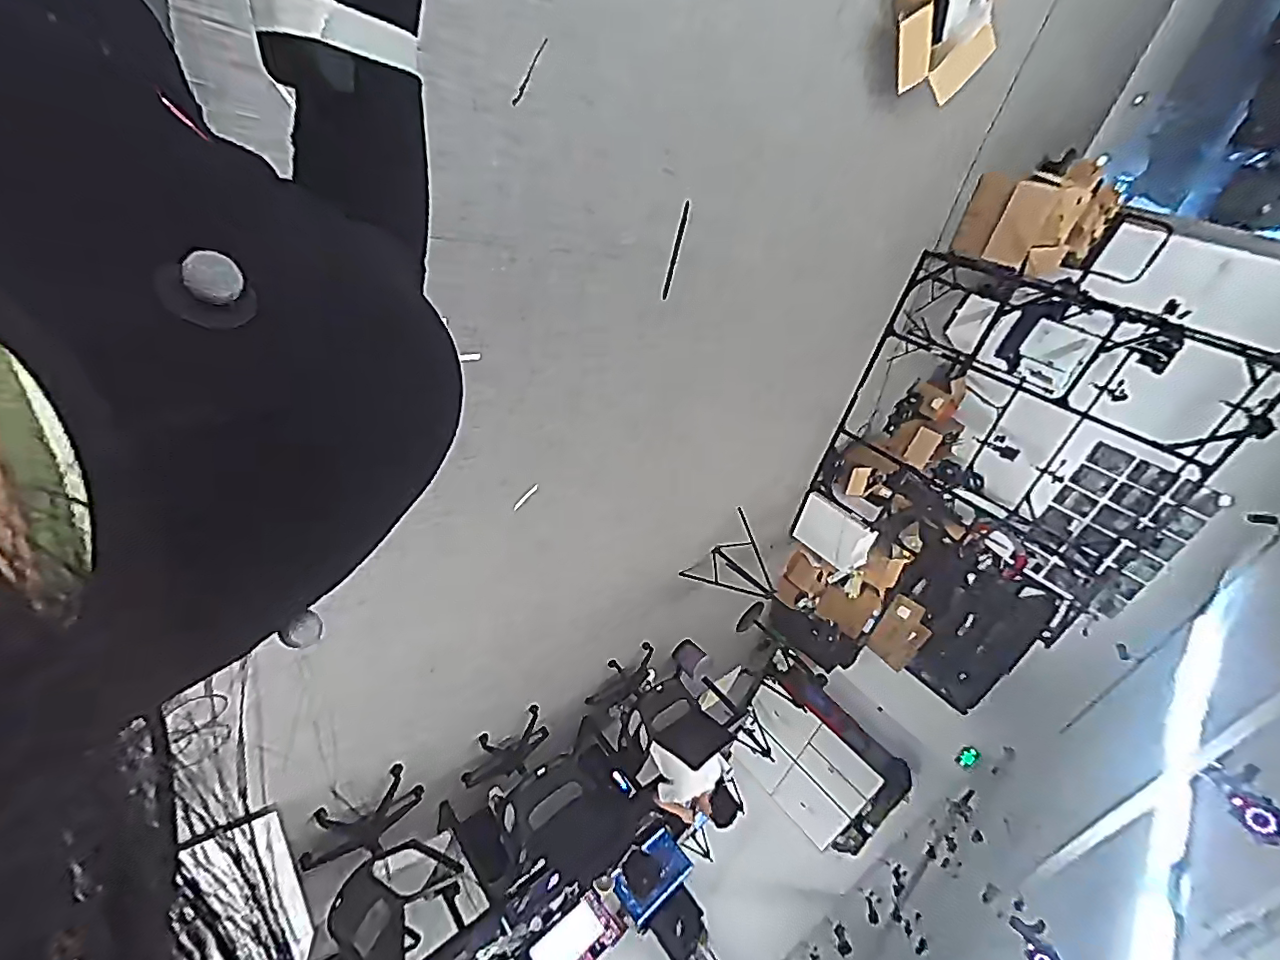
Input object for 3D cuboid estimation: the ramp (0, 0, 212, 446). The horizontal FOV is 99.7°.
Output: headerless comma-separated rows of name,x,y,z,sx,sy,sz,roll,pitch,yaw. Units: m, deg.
ramp,-1.167,-0.466,1.025,0.509,0.206,0.991,-18,135,-42
